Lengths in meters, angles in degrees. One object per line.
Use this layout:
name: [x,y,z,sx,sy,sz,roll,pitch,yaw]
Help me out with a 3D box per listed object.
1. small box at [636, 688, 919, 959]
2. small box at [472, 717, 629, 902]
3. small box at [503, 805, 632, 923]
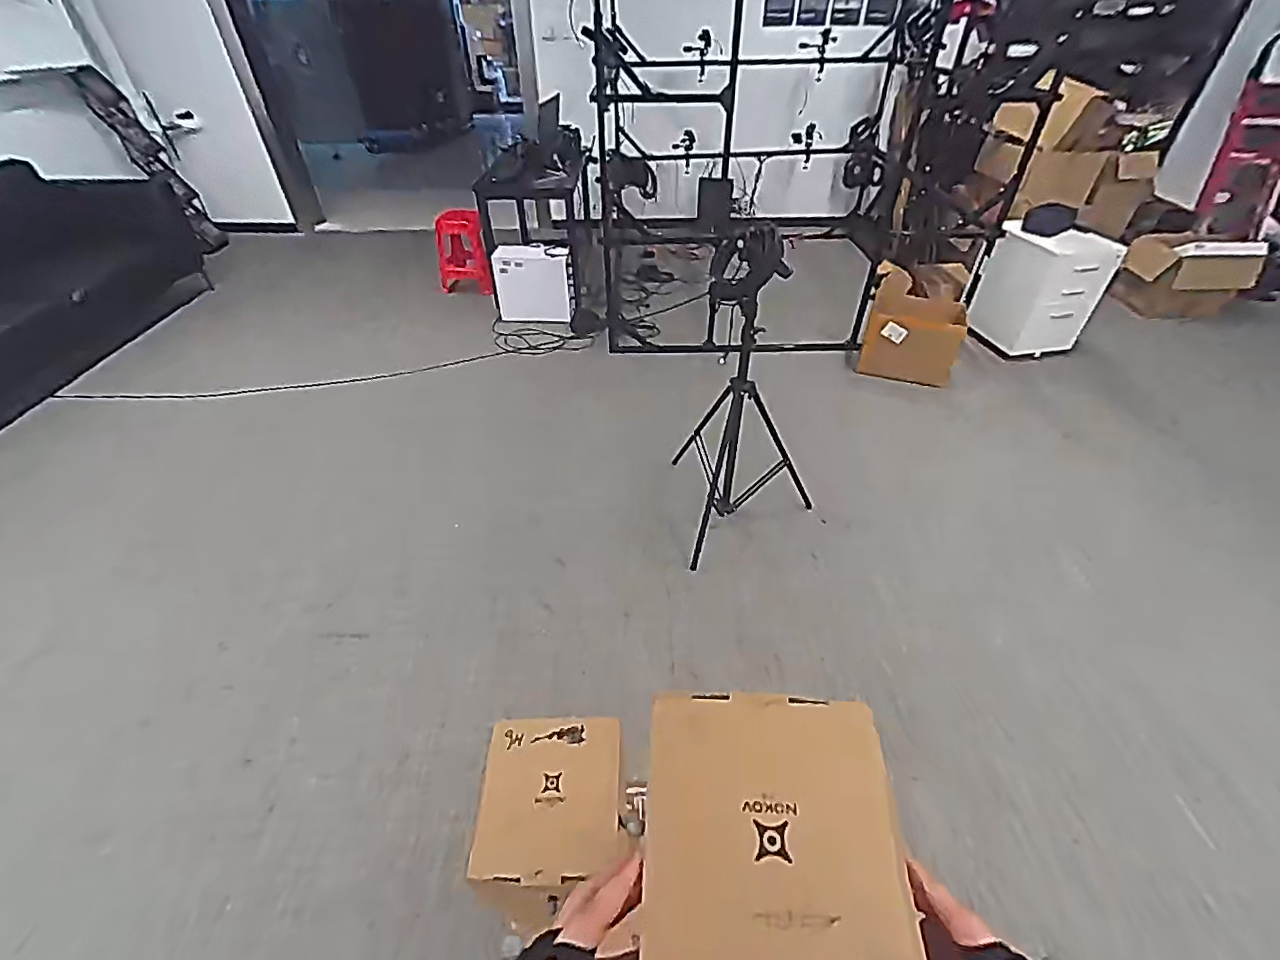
small box: [0.085,0.280,0.416,0.168,0.176,0.179,1,50,4]
small box: [-0.100,0.430,0.703,0.168,0.176,0.179,-2,44,1]
small box: [-0.100,0.545,0.821,0.168,0.176,0.179,-3,43,0]
